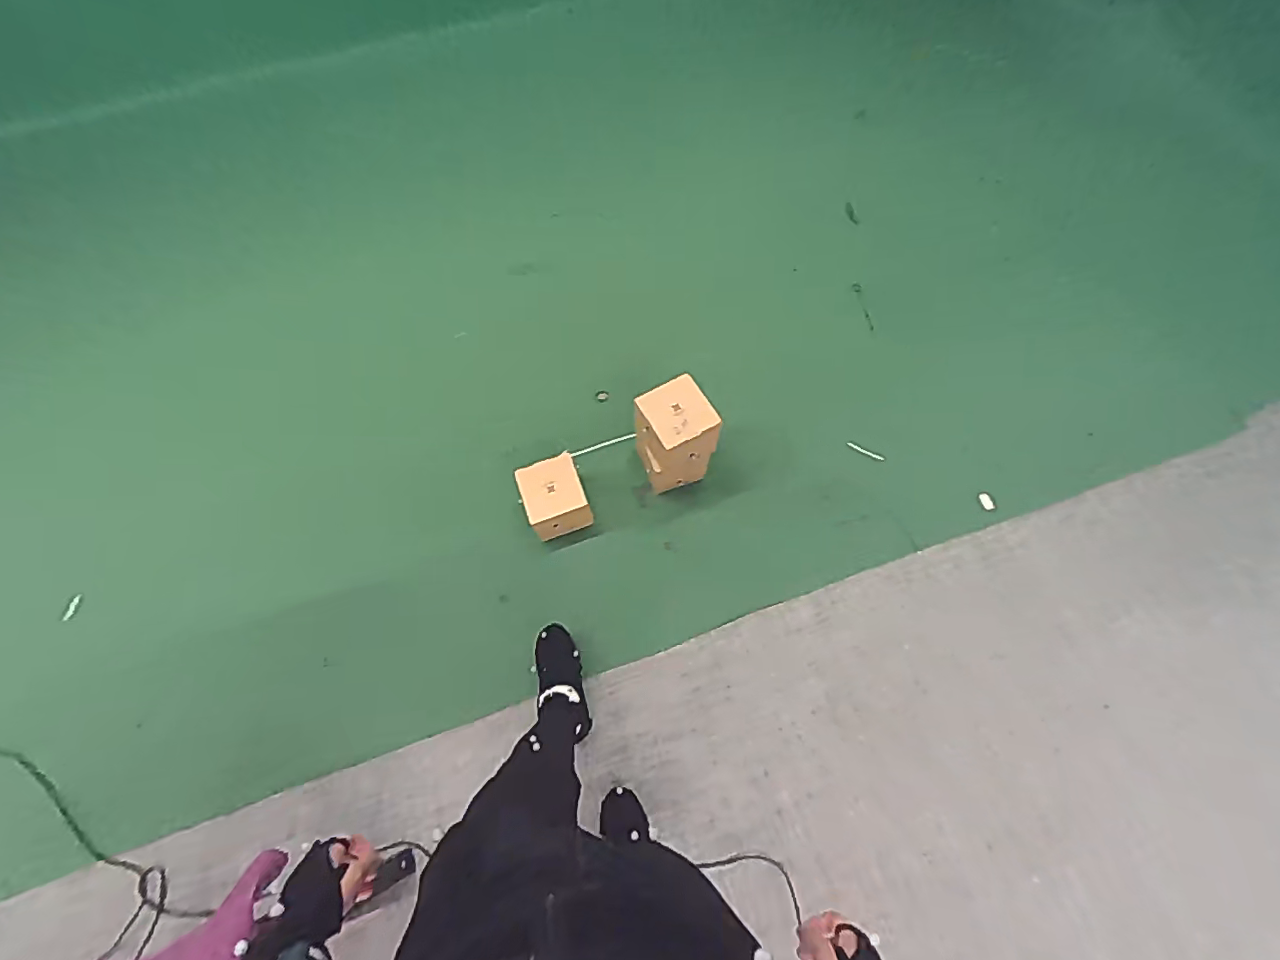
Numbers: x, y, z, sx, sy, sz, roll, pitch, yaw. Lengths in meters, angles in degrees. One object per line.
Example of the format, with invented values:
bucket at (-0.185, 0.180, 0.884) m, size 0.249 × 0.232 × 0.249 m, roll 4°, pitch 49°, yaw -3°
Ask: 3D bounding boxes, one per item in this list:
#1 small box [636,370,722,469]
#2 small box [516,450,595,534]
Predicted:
small box at (0.101, -0.159, 1.467) m, size 0.168 × 0.176 × 0.179 m, roll -28°, pitch 69°, yaw -9°
small box at (-0.240, 0.044, 1.574) m, size 0.168 × 0.176 × 0.179 m, roll -21°, pitch 67°, yaw -6°
